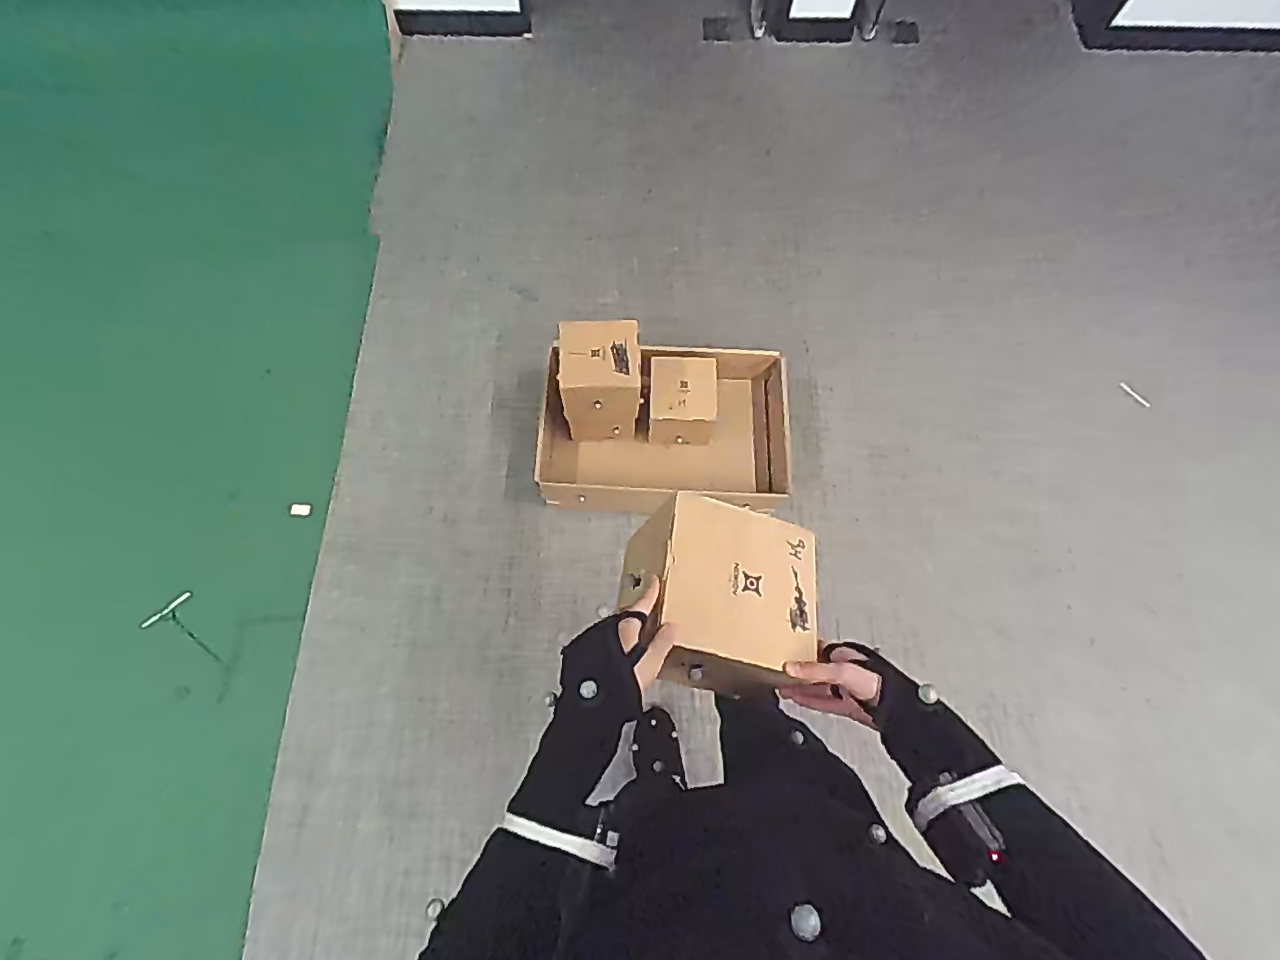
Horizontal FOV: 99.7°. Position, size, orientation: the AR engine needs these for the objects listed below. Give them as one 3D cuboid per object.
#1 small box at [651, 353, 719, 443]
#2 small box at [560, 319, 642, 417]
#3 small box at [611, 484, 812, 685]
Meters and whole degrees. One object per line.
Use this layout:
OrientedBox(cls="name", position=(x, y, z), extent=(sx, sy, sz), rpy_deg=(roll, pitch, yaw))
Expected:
OrientedBox(cls="small box", position=(0.114, -0.209, 1.407), extent=(0.168, 0.176, 0.179), rpy_deg=(1, 73, 2))
OrientedBox(cls="small box", position=(-0.087, -0.252, 1.247), extent=(0.179, 0.176, 0.168), rpy_deg=(-2, 73, -1))
OrientedBox(cls="small box", position=(0.076, 0.130, 0.620), extent=(0.179, 0.176, 0.168), rpy_deg=(16, 61, -11))
